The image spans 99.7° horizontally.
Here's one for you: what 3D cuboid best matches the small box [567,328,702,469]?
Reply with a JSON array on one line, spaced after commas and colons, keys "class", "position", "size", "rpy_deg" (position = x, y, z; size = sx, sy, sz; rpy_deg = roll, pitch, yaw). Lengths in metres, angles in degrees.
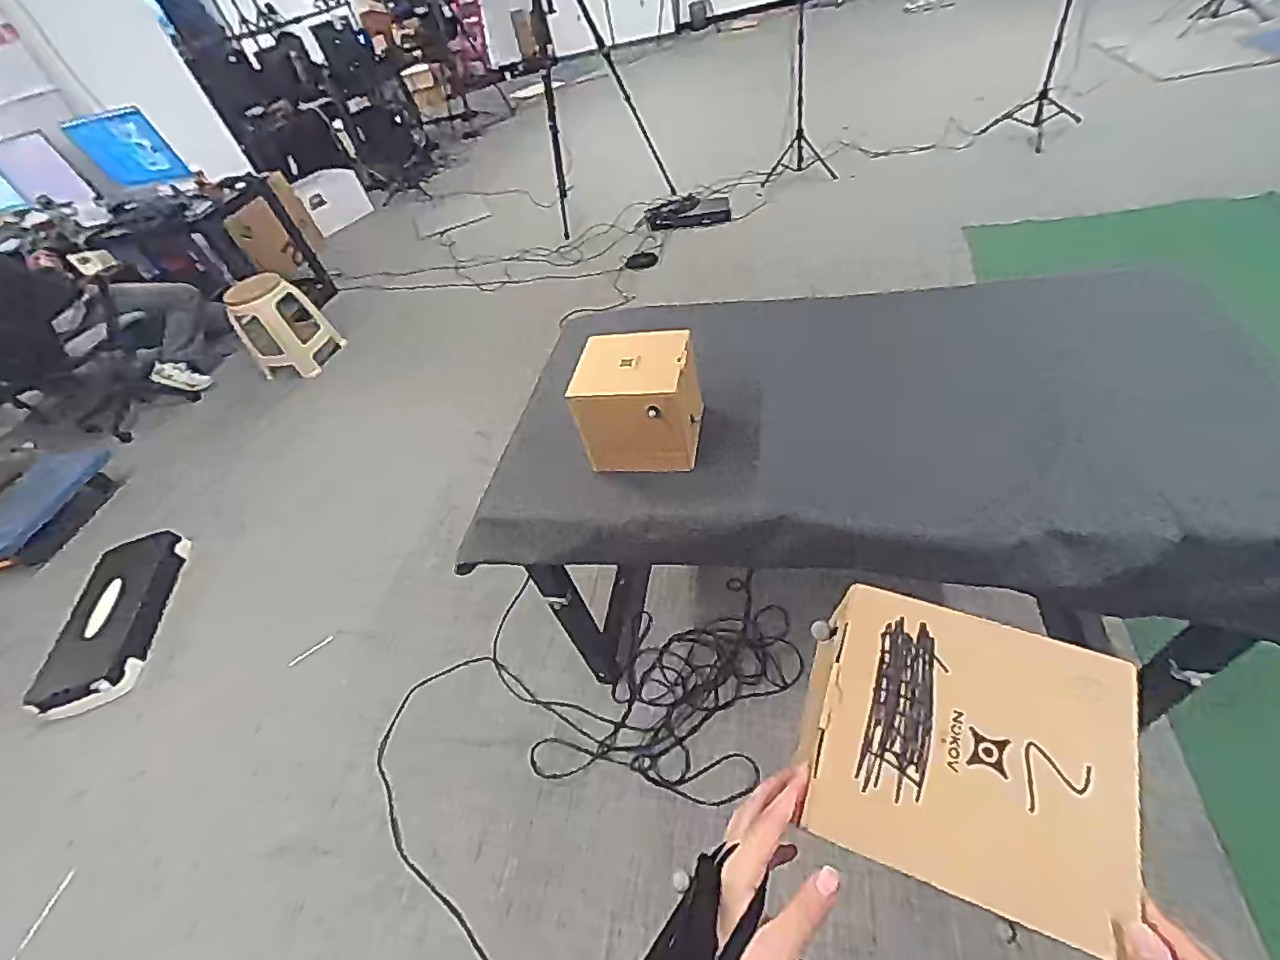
[{"class": "small box", "position": [0.002, -0.132, 0.904], "size": [0.179, 0.176, 0.168], "rpy_deg": [0, 48, 15]}]
